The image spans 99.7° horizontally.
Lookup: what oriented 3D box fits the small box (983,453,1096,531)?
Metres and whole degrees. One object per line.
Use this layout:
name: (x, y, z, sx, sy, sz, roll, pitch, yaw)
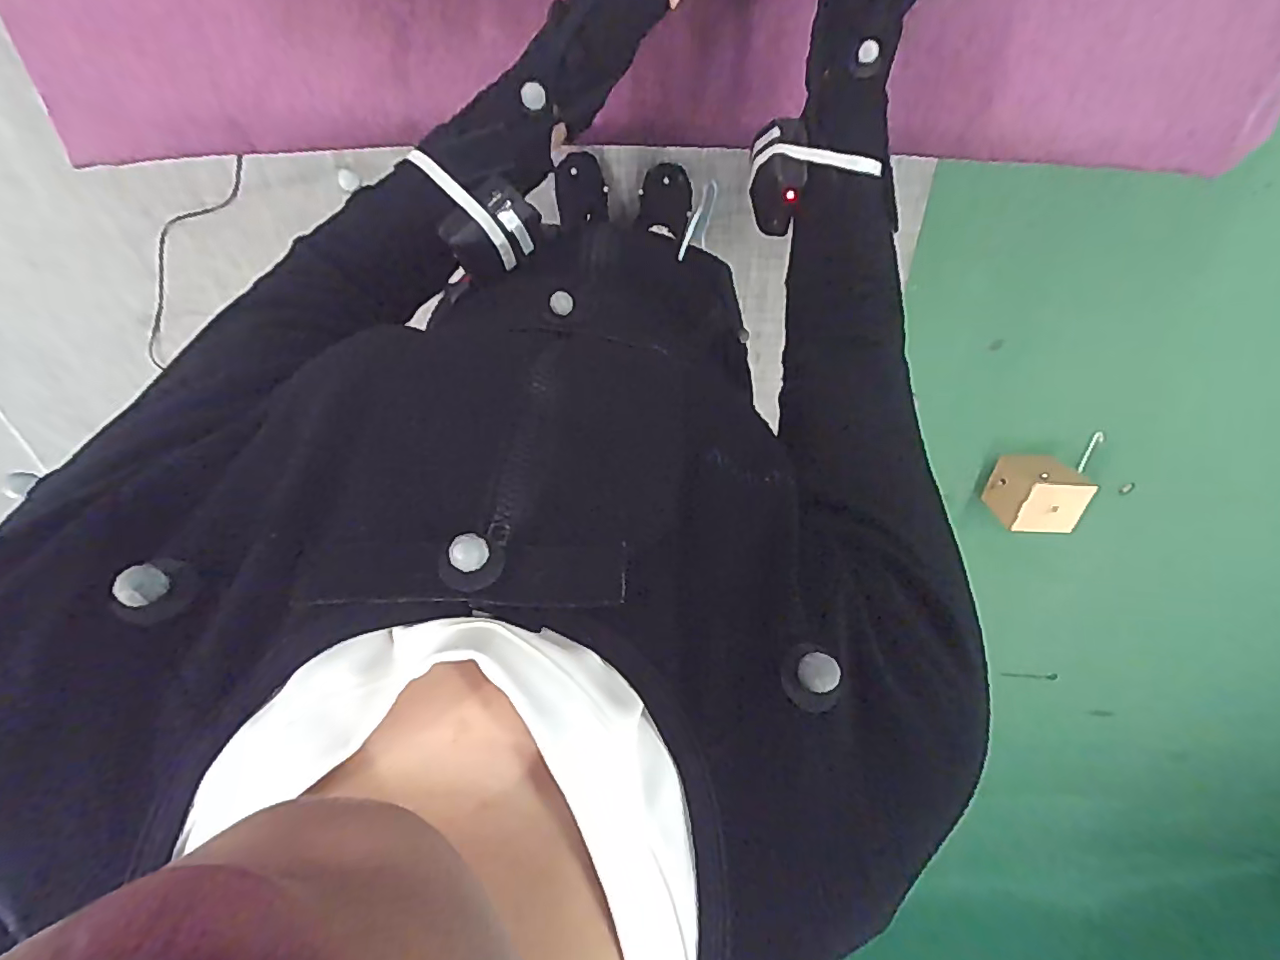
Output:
small box: (1.153, 0.032, 1.577, 0.179, 0.176, 0.168, 3, 124, 0)
